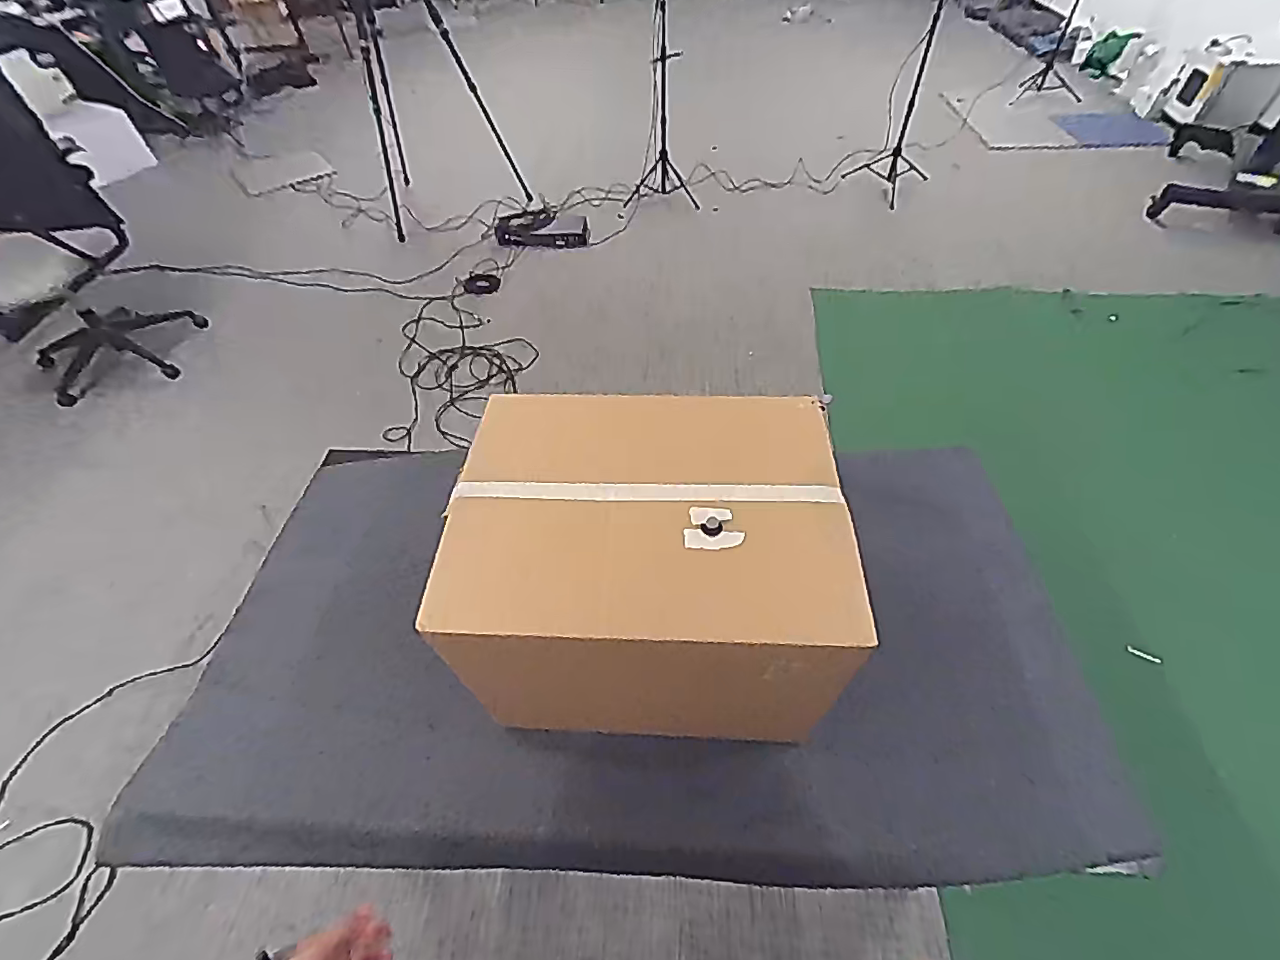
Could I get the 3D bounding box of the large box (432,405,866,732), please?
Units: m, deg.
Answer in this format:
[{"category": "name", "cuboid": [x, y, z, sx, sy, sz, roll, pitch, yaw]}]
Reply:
[{"category": "large box", "cuboid": [0.012, 0.118, 0.695, 0.408, 0.320, 0.320, 1, 52, 3]}]
